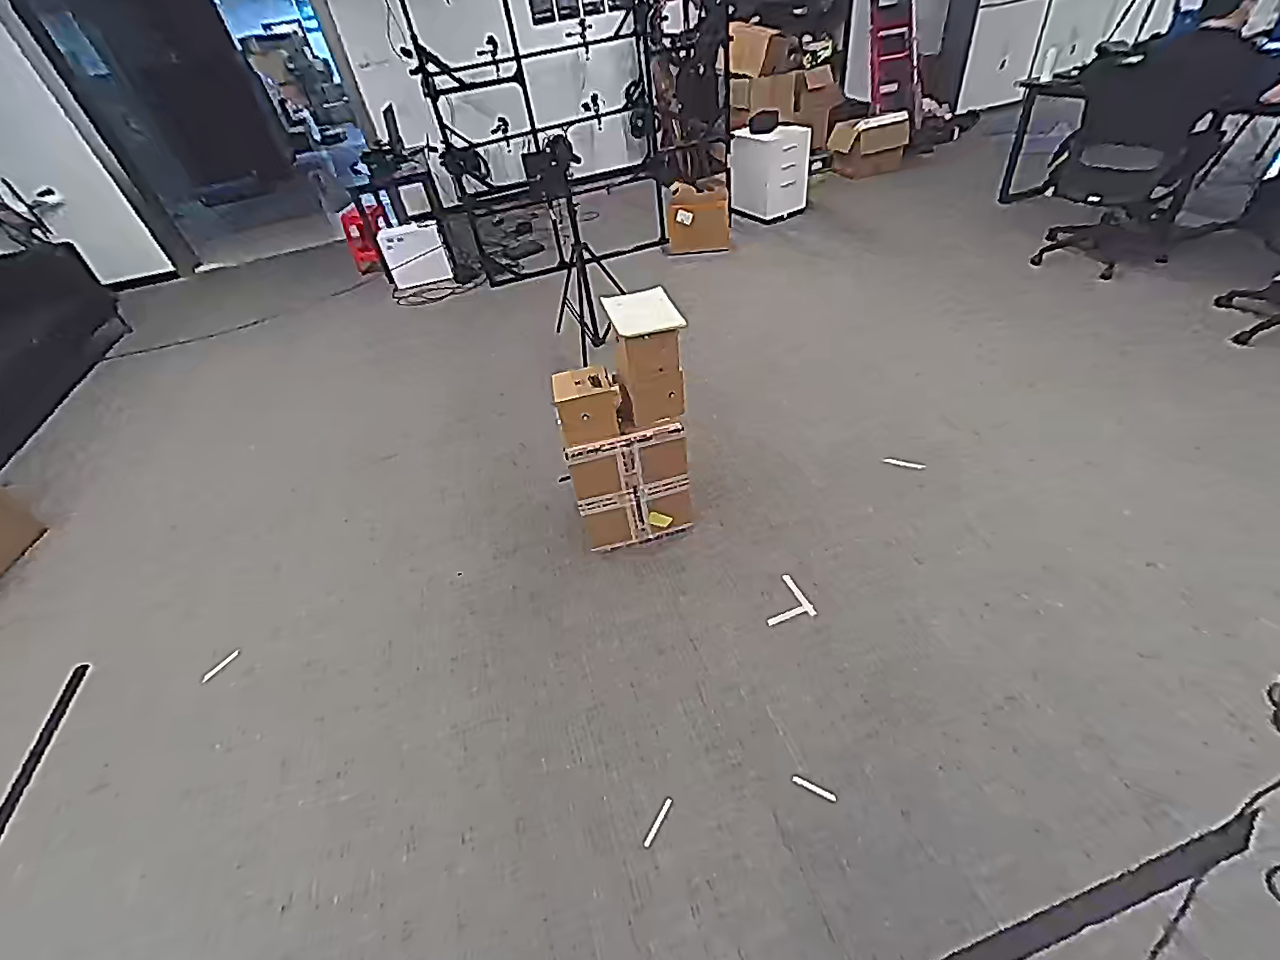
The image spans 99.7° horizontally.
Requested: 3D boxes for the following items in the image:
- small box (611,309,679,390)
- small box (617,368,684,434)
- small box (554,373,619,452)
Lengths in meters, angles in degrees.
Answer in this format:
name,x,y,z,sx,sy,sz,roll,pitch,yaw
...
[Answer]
name,x,y,z,sx,sy,sz,roll,pitch,yaw
small box,0.016,-0.400,1.662,0.168,0.176,0.179,-16,42,-9
small box,0.036,-0.276,1.766,0.179,0.176,0.168,-17,43,-10
small box,-0.170,-0.215,1.736,0.179,0.176,0.168,-13,44,-2
